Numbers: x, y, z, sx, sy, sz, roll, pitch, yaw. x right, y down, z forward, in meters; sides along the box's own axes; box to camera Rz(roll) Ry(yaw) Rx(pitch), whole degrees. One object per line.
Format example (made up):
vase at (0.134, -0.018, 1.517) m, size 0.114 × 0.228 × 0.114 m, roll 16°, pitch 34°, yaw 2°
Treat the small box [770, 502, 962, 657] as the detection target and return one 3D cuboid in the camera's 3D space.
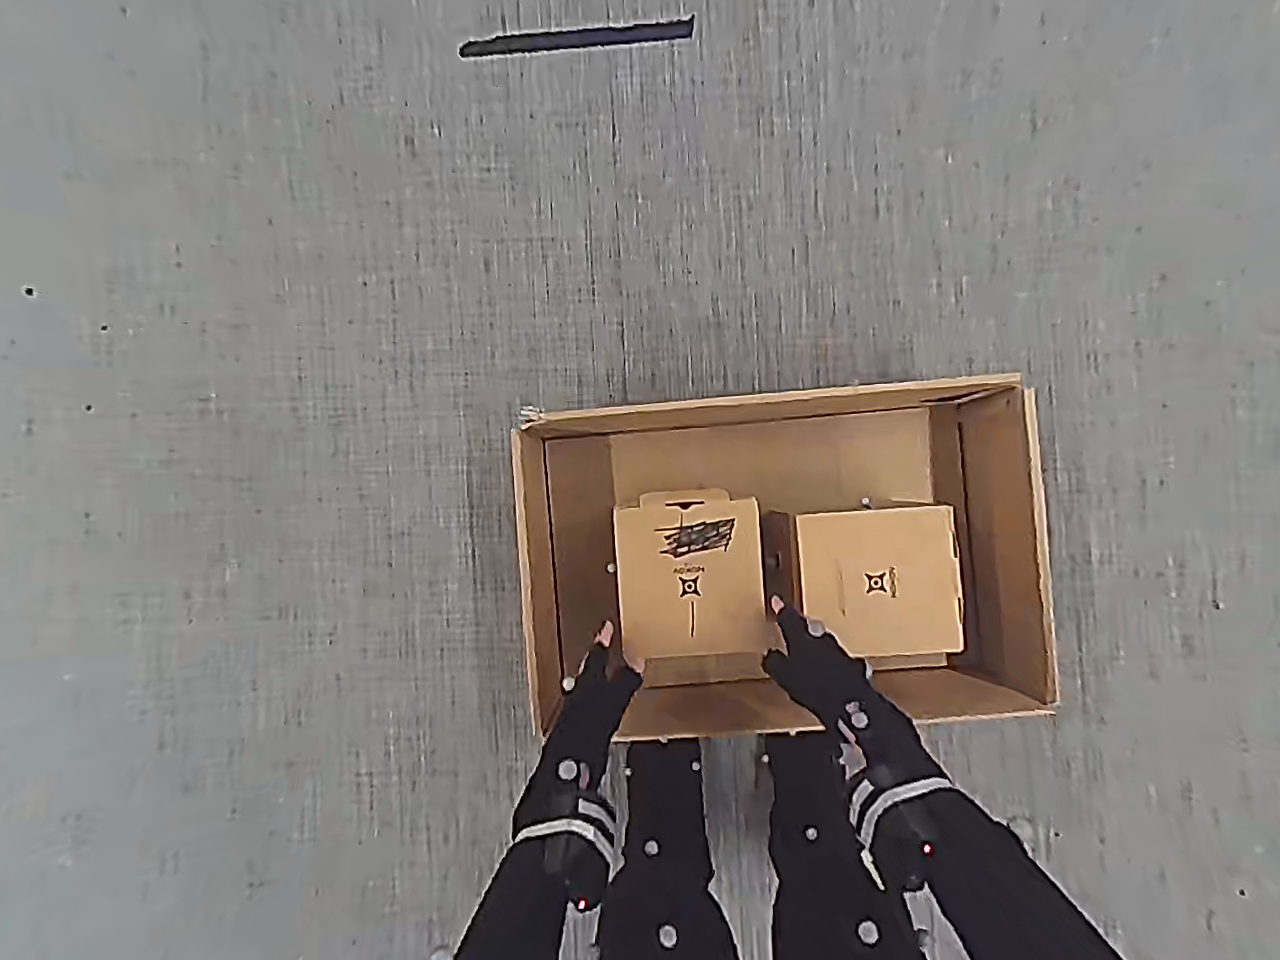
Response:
small box at (0.272, 0.115, 0.685) m, size 0.179 × 0.176 × 0.168 m, roll -4°, pitch 88°, yaw 3°
